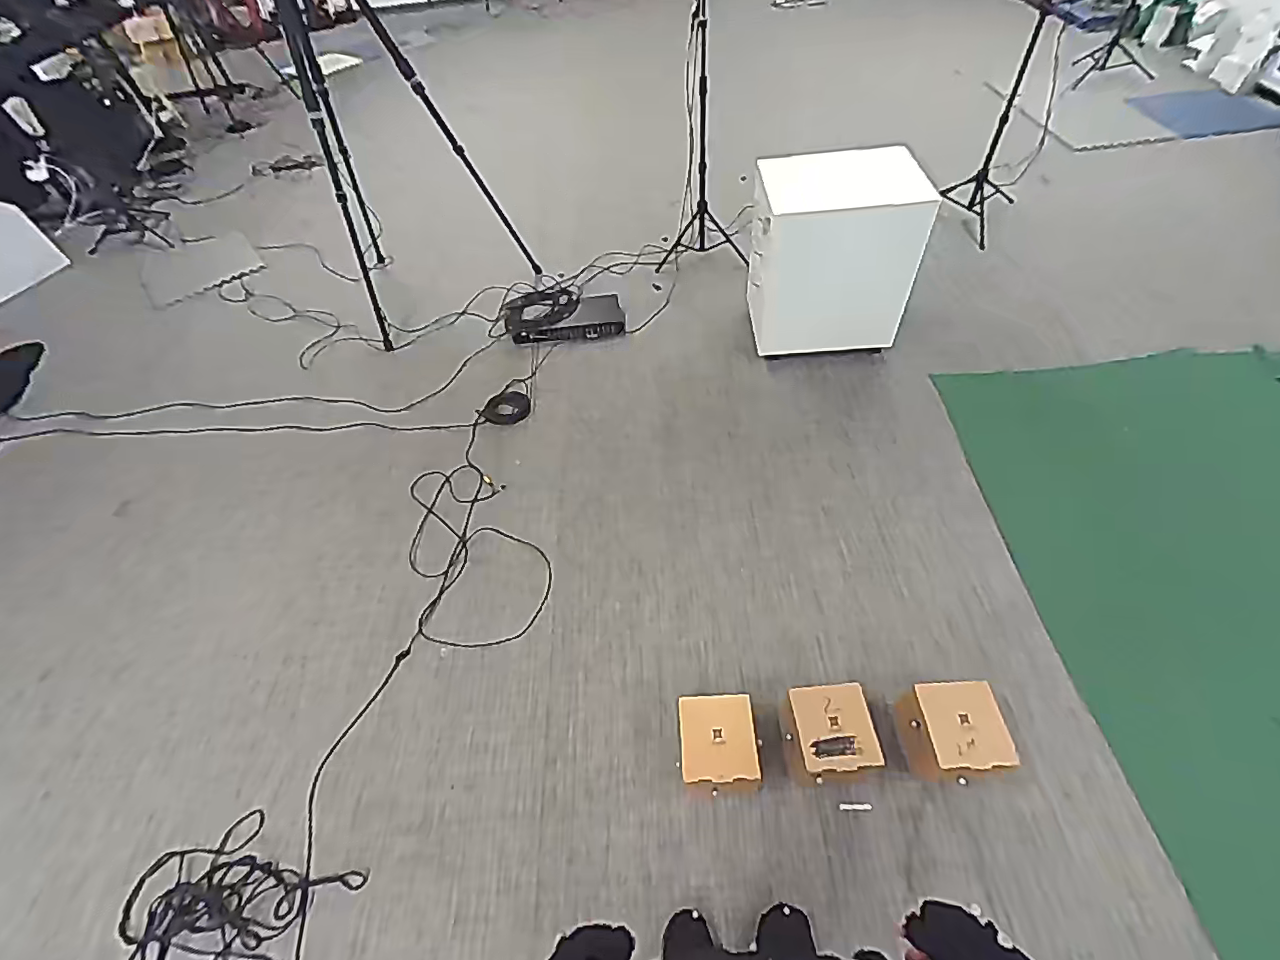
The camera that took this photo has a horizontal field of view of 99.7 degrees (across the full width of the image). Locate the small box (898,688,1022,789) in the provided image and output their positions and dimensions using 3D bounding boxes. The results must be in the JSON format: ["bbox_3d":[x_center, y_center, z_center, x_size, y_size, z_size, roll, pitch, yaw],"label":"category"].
[{"bbox_3d":[0.715,0.591,1.235,0.168,0.176,0.179,-4,52,4],"label":"small box"}]

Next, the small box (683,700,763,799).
[{"bbox_3d":[0.188,0.631,1.265,0.168,0.176,0.179,-4,52,4],"label":"small box"}]
